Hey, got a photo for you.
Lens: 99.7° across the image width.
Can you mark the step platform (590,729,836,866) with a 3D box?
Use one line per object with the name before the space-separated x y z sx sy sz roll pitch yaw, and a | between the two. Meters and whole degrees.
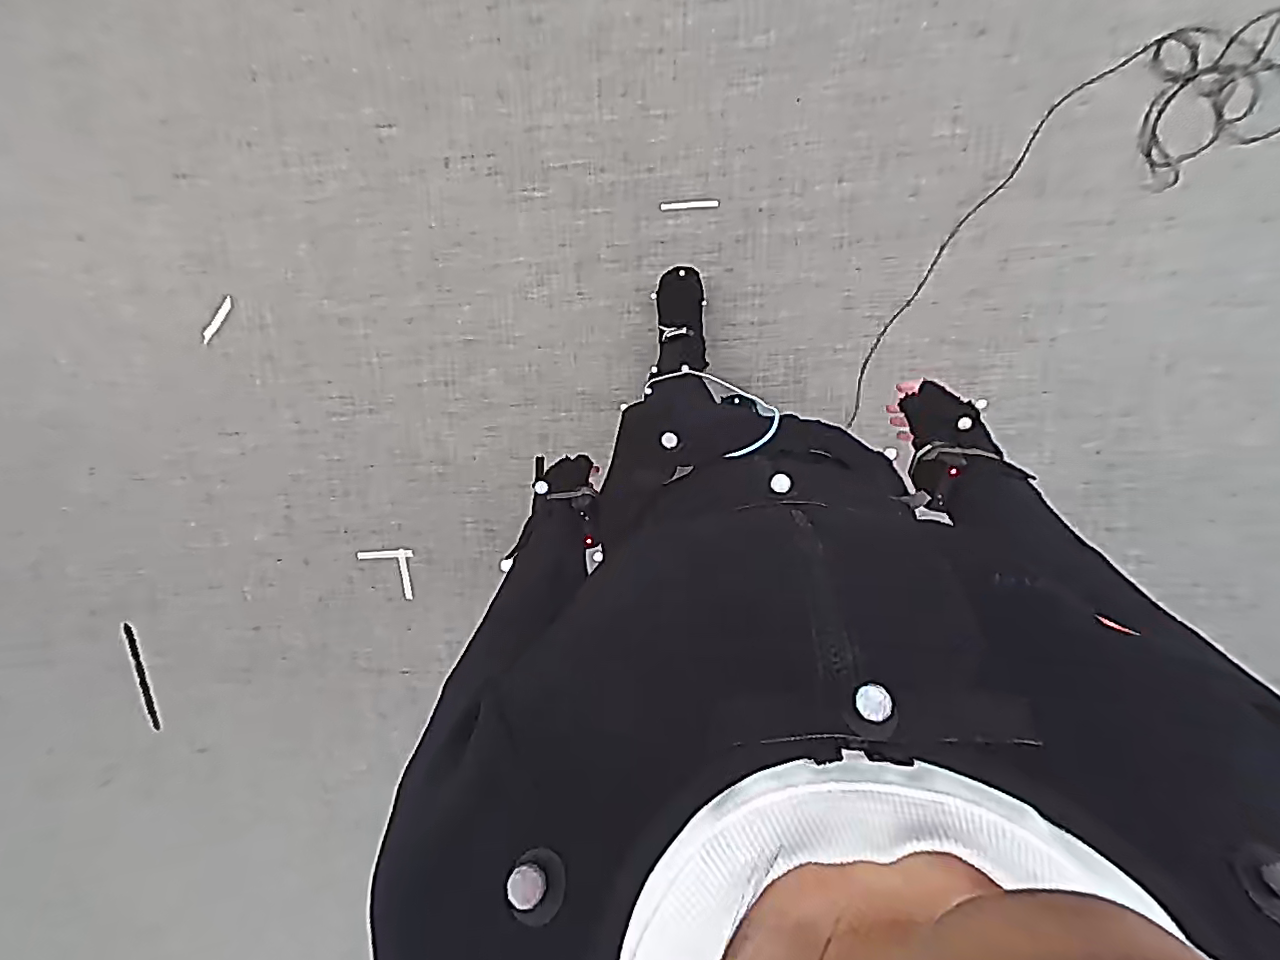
step platform | 0.200 0.901 1.547 0.684 0.204 0.286 -2 102 8
